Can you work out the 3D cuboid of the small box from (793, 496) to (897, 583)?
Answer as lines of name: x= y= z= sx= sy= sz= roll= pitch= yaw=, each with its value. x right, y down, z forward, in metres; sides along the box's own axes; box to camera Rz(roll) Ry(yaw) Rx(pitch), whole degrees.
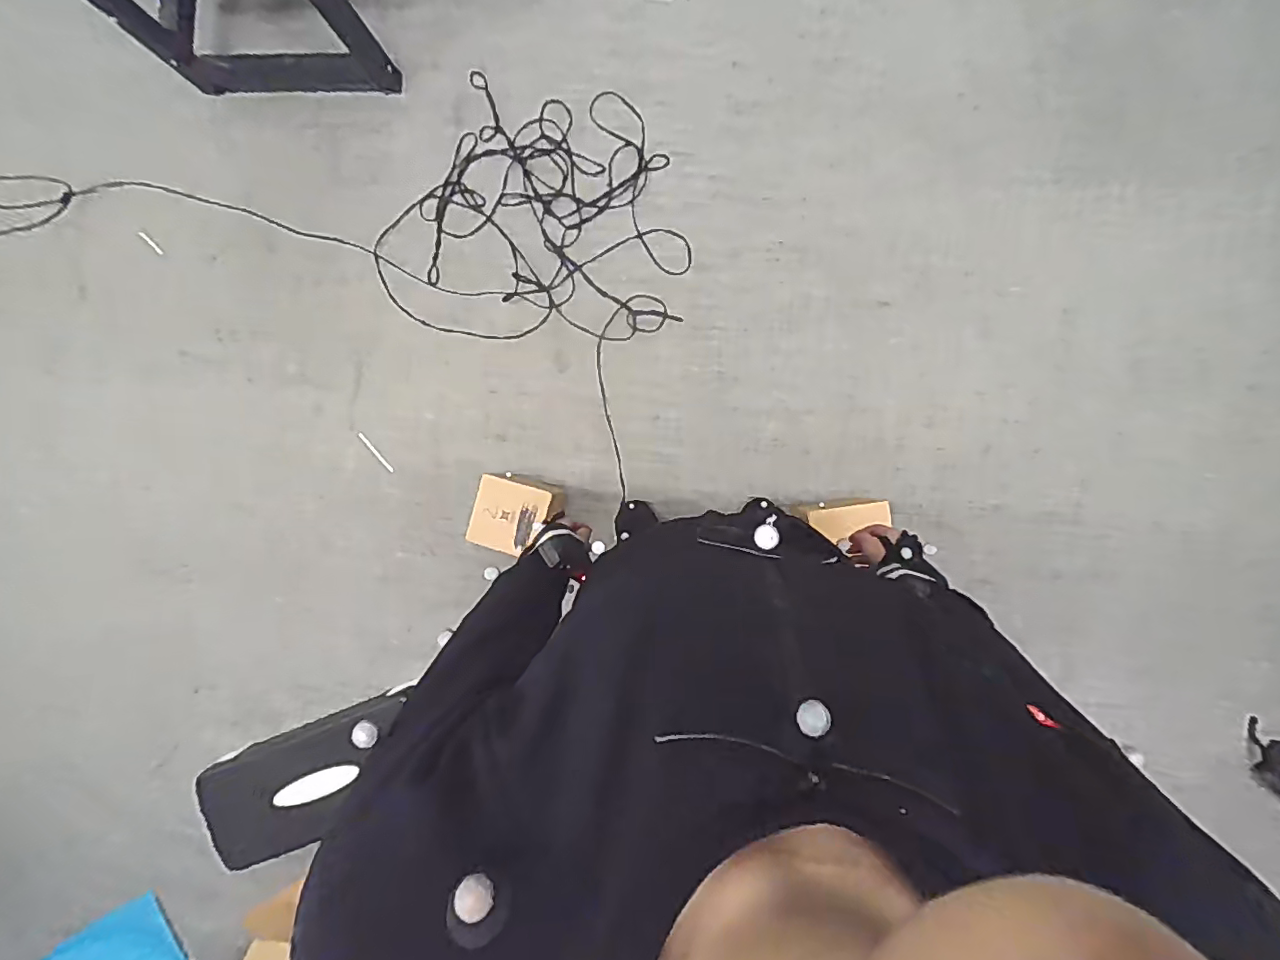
small box: x=0.472 y=0.133 z=1.264 sx=0.179 sy=0.176 sz=0.168 roll=-9 pitch=90 yaw=5
